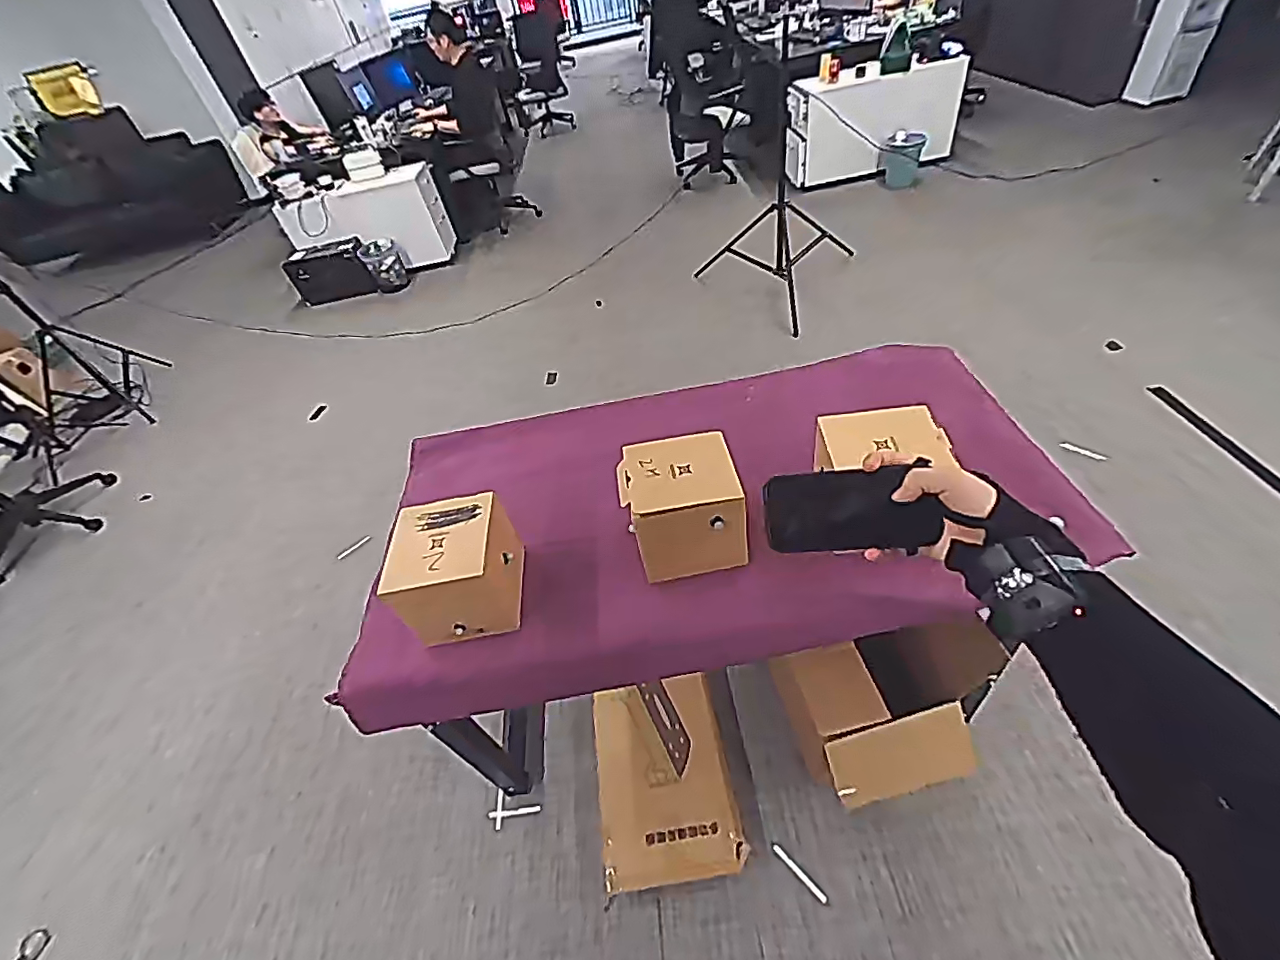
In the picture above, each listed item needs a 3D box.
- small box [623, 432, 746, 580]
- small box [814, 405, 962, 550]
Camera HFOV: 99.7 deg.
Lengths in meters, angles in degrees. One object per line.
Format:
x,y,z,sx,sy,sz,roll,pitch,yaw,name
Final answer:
0.076,0.046,0.919,0.179,0.176,0.168,-12,42,2,small box
0.391,0.001,0.891,0.179,0.176,0.168,-6,45,7,small box
